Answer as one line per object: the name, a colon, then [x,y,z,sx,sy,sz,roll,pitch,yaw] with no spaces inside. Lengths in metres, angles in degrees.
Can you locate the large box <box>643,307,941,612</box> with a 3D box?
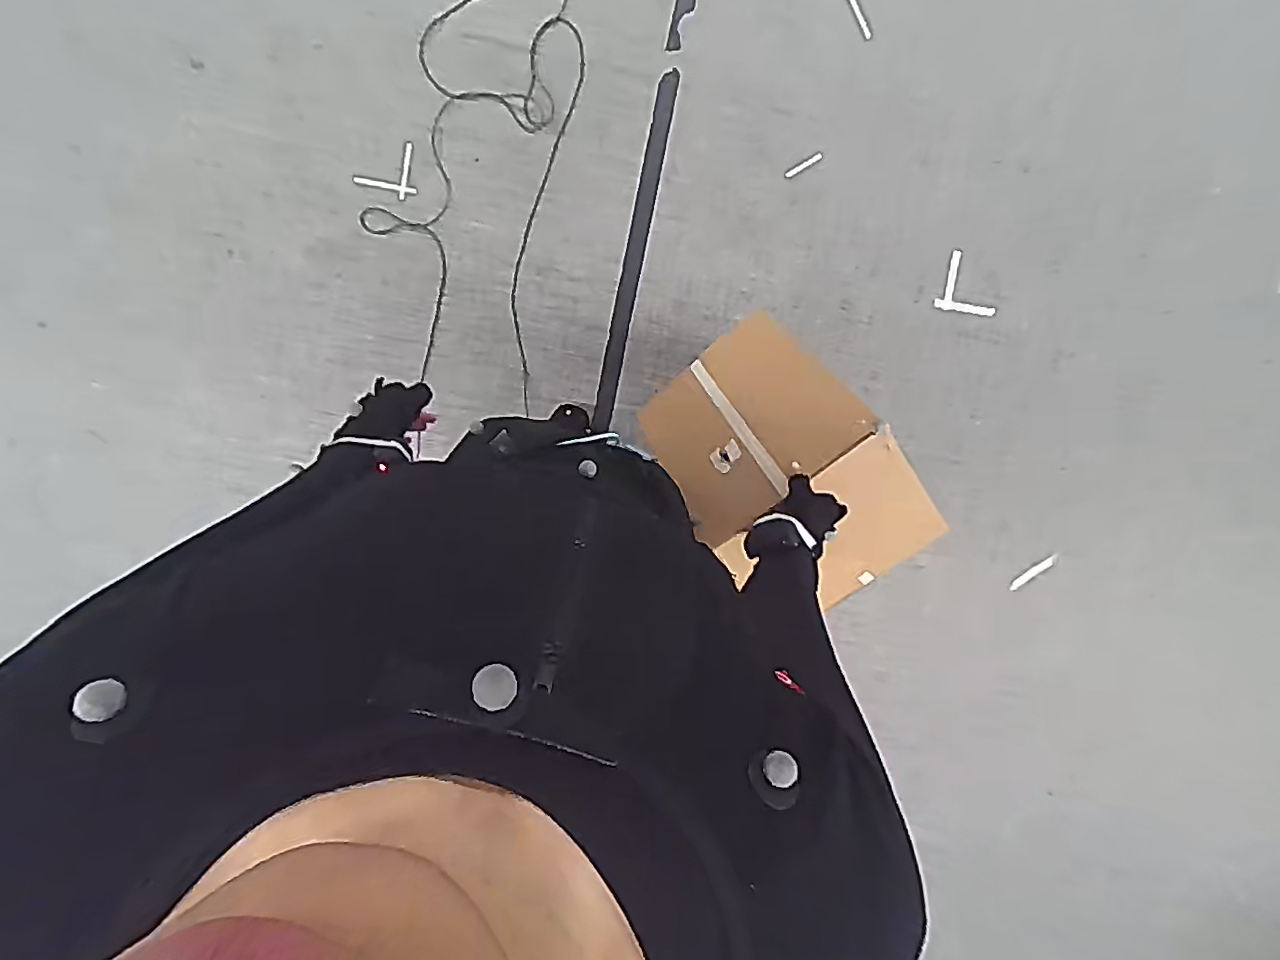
large box: [0.258,-0.040,0.995,0.320,0.408,0.320,-39,130,16]
